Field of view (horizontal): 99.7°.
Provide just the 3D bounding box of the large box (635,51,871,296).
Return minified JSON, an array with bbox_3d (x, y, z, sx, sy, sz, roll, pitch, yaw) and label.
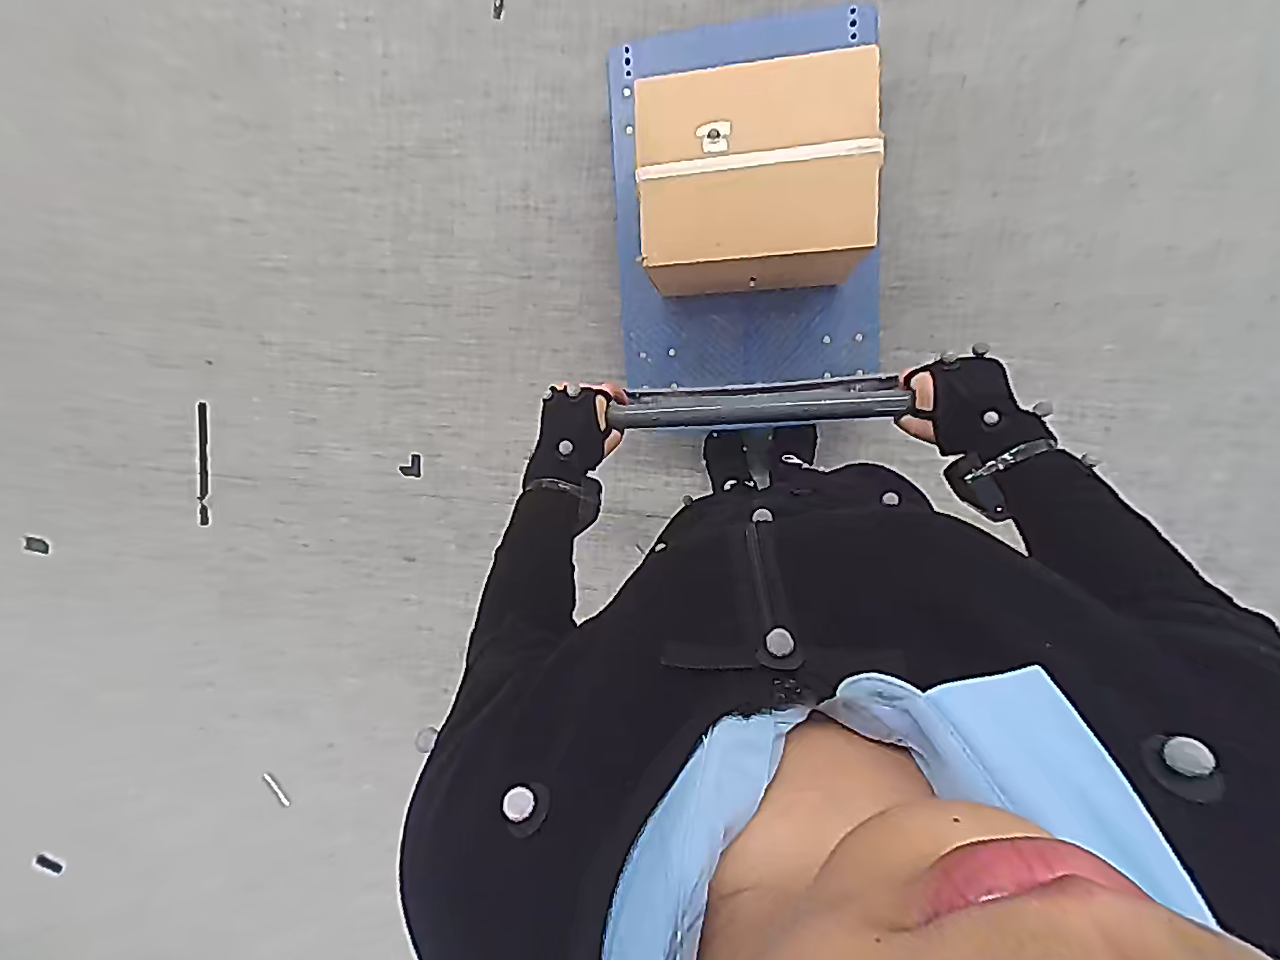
[{"bbox_3d":[0.222,-0.571,1.090,0.408,0.320,0.320,-2,97,11],"label":"large box"}]
